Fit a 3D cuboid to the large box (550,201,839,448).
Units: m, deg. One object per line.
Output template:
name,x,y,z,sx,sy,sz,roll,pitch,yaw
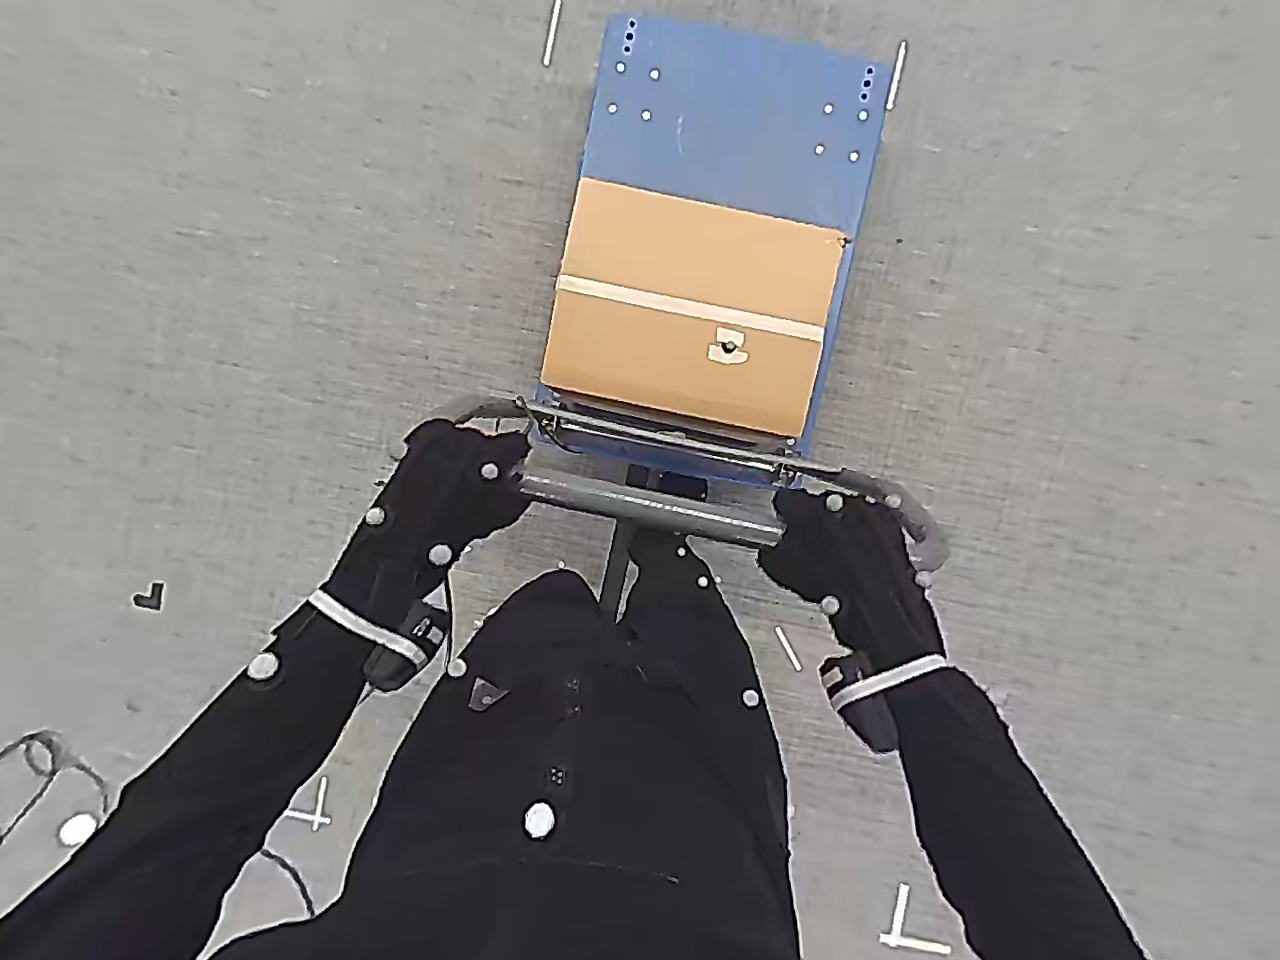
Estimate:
large box,0.081,-0.248,0.980,0.408,0.320,0.320,12,93,0
